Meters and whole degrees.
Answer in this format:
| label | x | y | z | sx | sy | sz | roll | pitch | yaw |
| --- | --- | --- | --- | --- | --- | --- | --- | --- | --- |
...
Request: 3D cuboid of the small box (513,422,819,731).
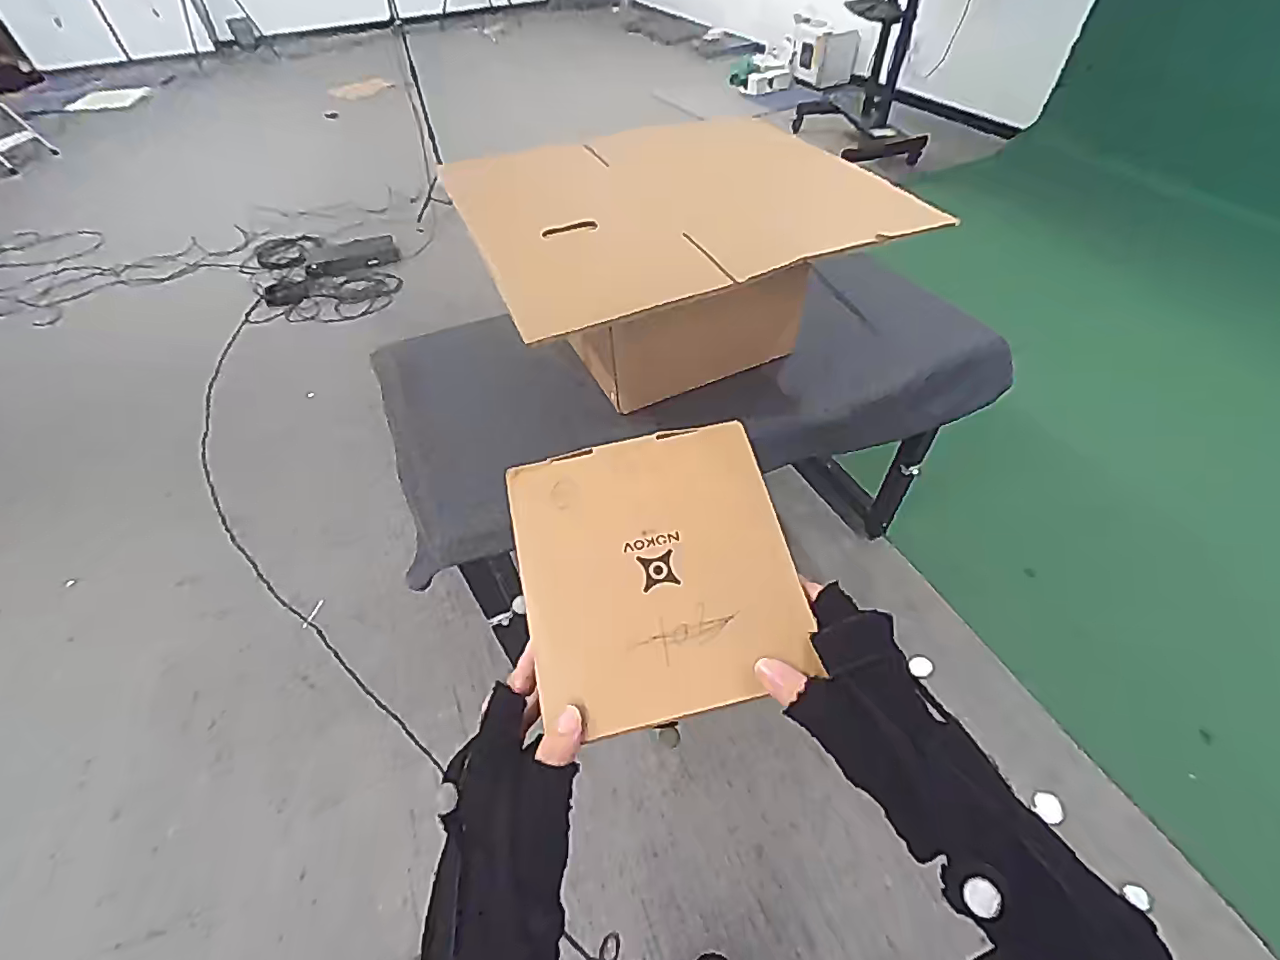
| label | x | y | z | sx | sy | sz | roll | pitch | yaw |
| --- | --- | --- | --- | --- | --- | --- | --- | --- | --- |
| small box | 0.008 | 0.083 | 0.415 | 0.168 | 0.176 | 0.179 | -12 | 66 | -5 |
